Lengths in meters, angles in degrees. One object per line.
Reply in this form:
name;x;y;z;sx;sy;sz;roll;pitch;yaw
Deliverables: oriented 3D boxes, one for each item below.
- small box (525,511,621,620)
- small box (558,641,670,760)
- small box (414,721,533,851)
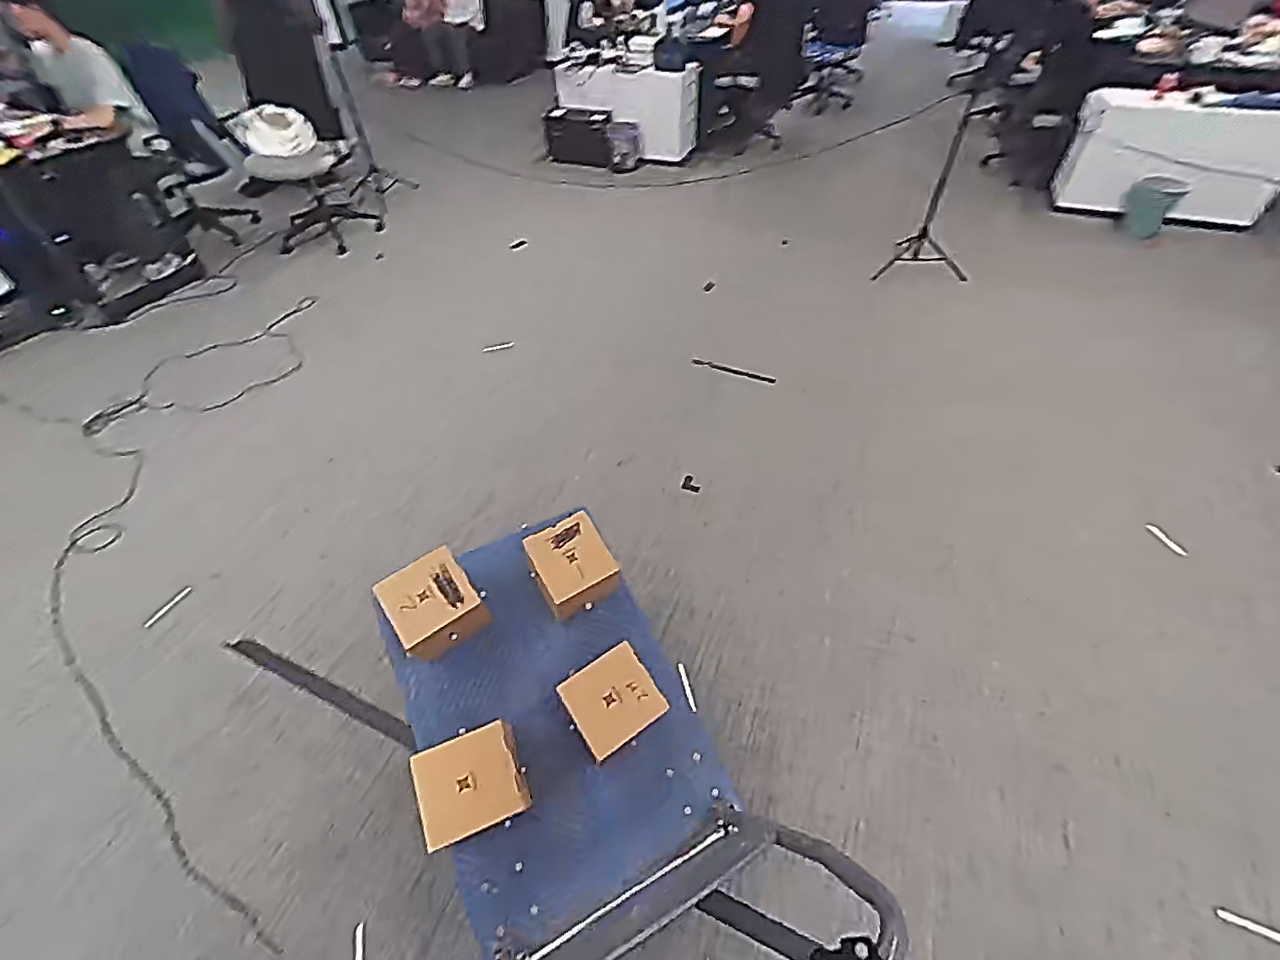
small box;-0.163;0.211;1.307;0.168;0.176;0.179;-27;68;-18
small box;-0.057;0.481;1.167;0.179;0.176;0.168;-30;68;-19
small box;-0.324;0.604;1.074;0.179;0.176;0.168;-18;64;-16
